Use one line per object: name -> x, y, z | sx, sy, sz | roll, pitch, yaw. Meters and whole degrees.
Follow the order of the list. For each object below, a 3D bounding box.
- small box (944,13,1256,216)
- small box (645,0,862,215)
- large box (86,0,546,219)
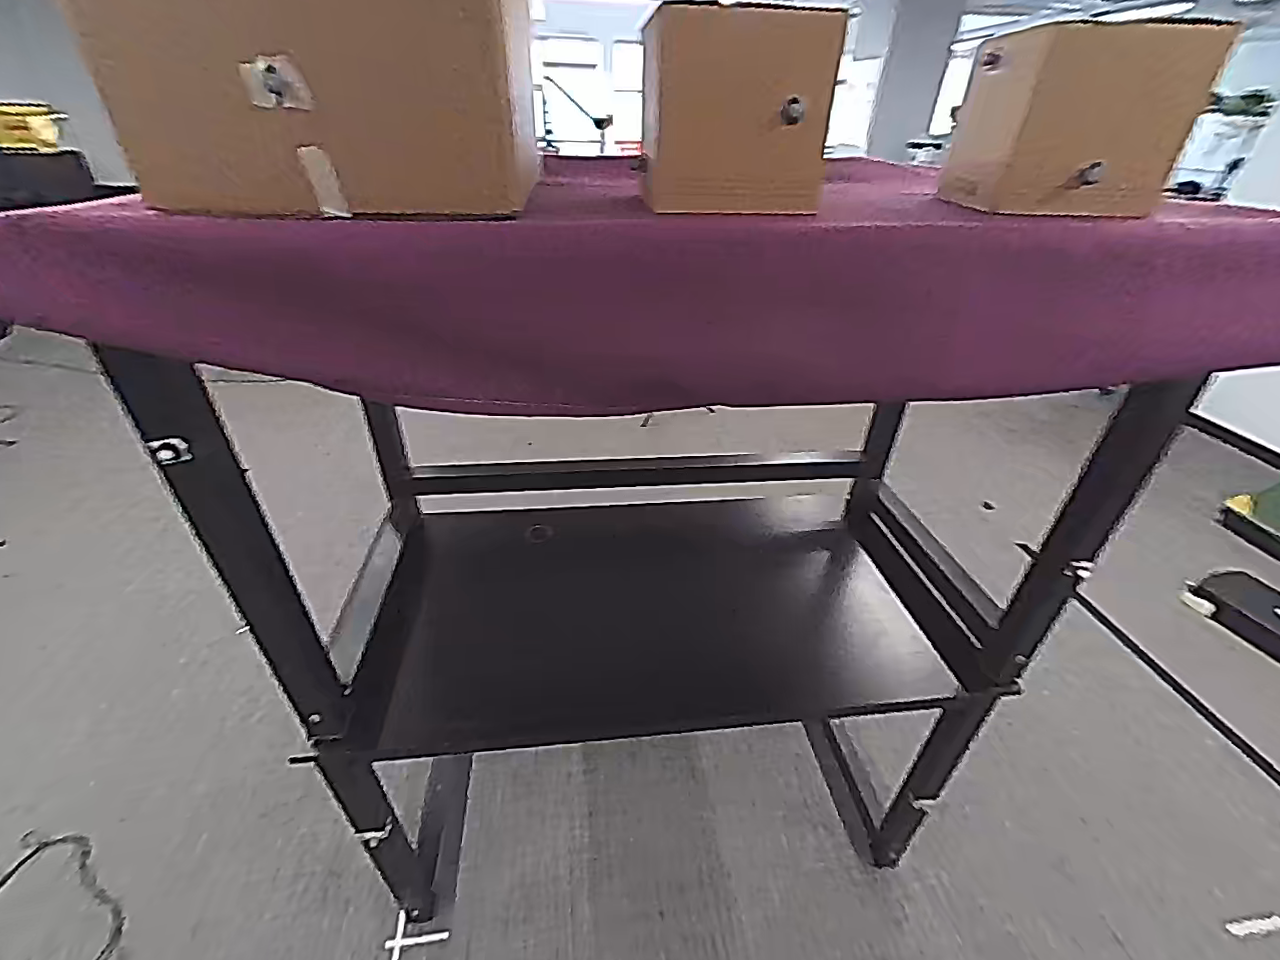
small box -> 0.484, -0.399, 0.607 | 0.179, 0.176, 0.168 | 3, 33, 2
small box -> 0.102, -0.386, 0.576 | 0.179, 0.176, 0.168 | -2, 33, -6
large box -> -0.267, -0.460, 0.552 | 0.320, 0.320, 0.408 | -1, 33, -6
